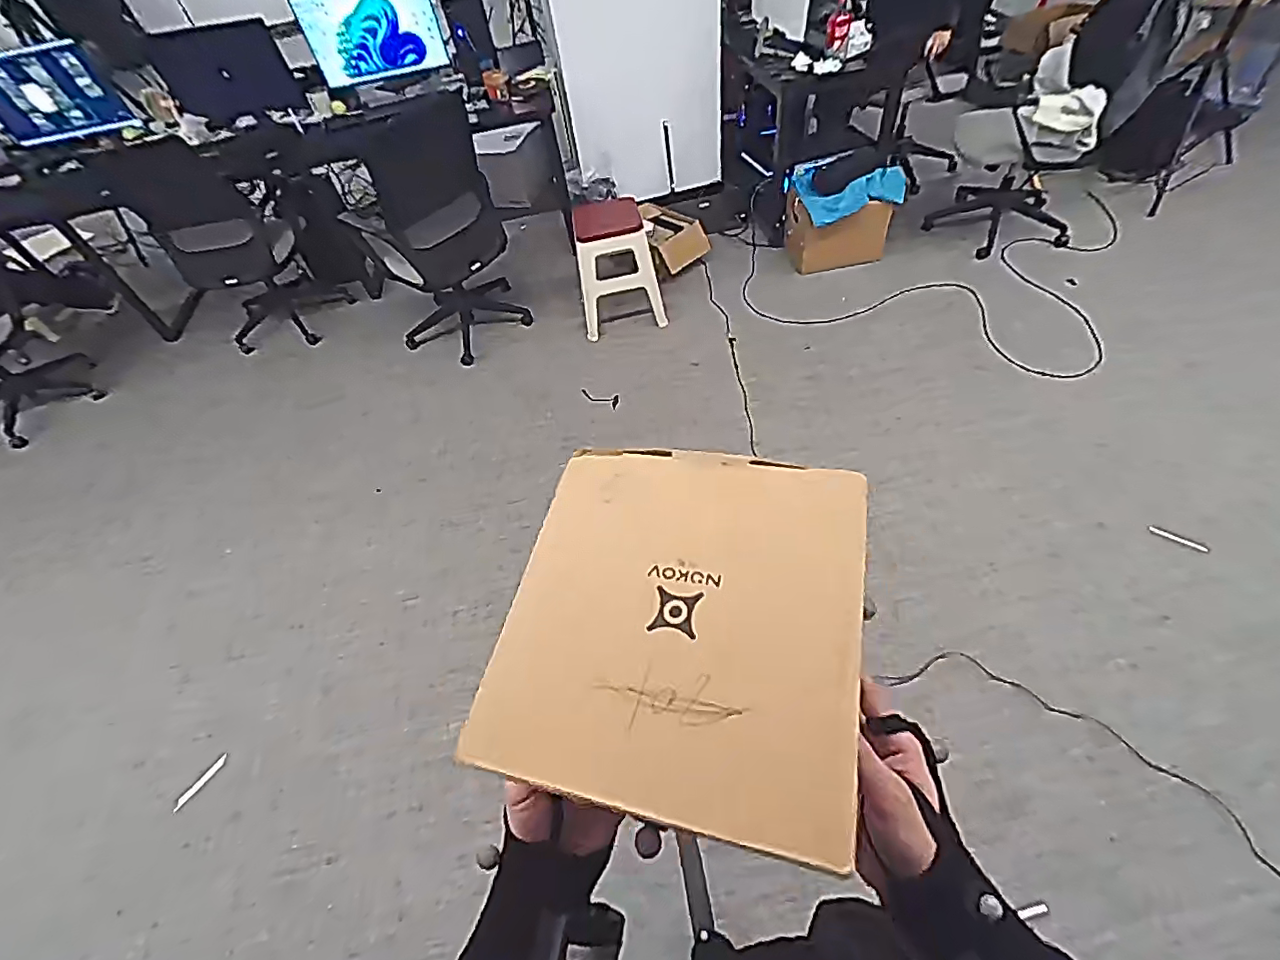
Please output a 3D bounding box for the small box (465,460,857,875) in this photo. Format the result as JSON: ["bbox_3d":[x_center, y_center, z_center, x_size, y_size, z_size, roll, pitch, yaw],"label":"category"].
[{"bbox_3d":[0.031,0.111,0.329,0.168,0.176,0.179,5,57,16],"label":"small box"}]
